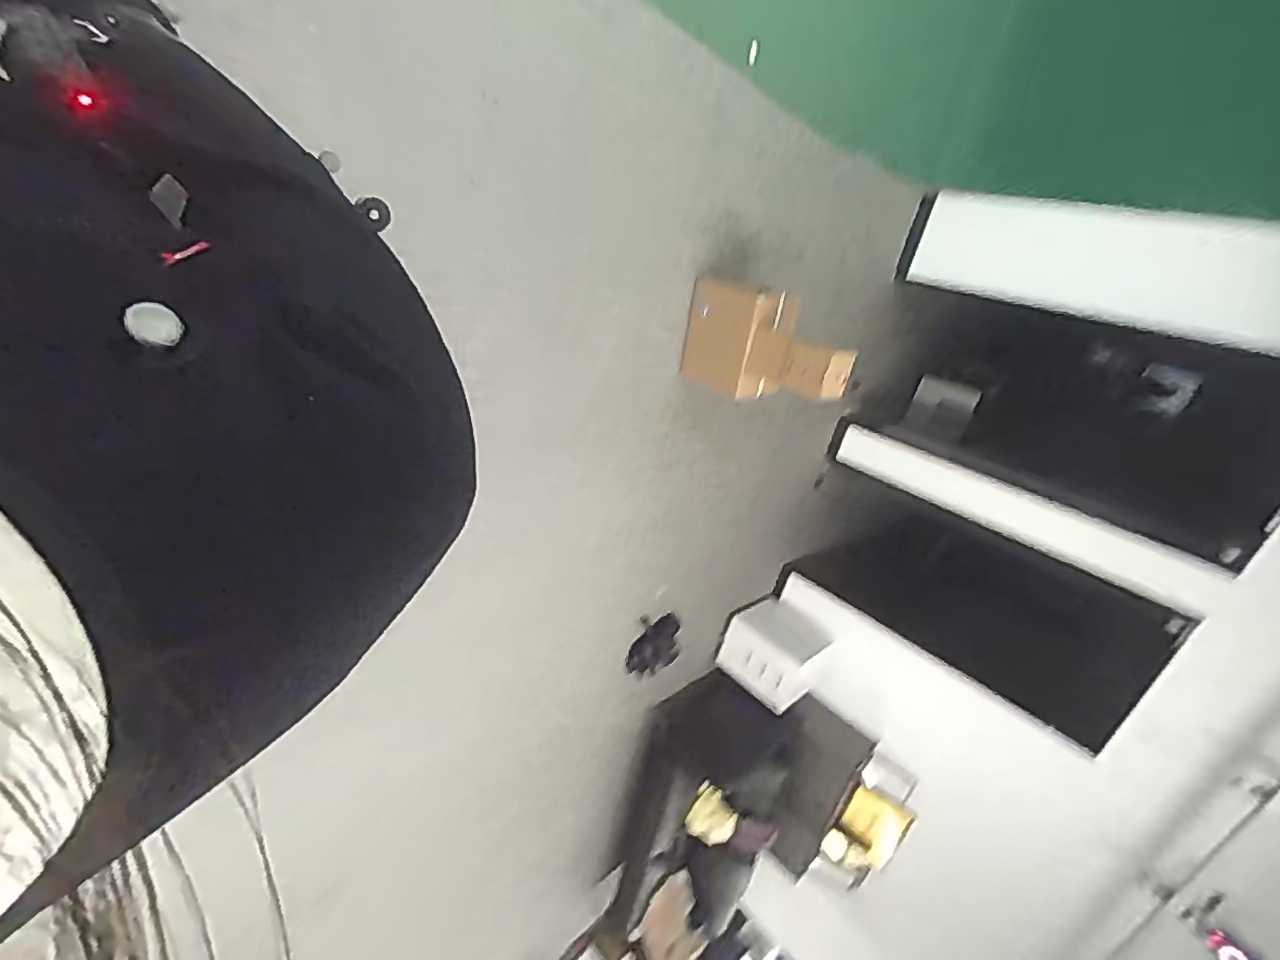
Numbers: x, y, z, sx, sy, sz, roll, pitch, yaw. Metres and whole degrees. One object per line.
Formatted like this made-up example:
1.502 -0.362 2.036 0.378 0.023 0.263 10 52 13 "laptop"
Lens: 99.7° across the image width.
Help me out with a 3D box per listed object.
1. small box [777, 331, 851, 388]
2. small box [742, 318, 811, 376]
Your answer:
0.621 -0.434 1.943 0.179 0.176 0.168 -13 123 -43 "small box"
0.509 -0.502 2.041 0.168 0.176 0.179 -13 123 -44 "small box"
